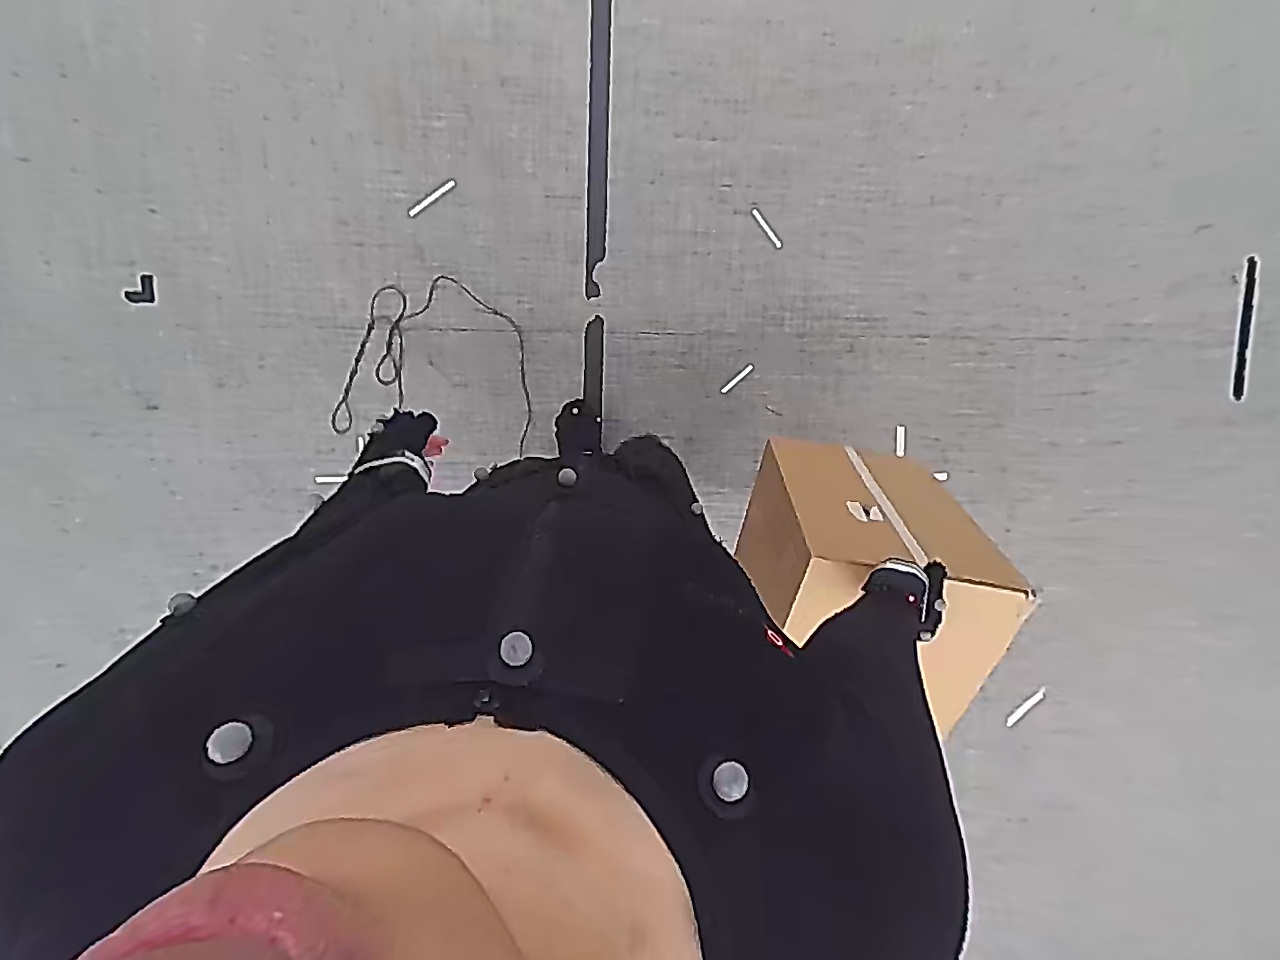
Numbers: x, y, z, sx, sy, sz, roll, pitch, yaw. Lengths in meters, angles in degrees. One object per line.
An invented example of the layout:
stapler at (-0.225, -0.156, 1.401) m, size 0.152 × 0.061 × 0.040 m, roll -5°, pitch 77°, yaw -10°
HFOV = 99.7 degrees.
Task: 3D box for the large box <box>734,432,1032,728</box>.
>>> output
large box at (0.371, 0.157, 0.973) m, size 0.320 × 0.408 × 0.320 m, roll 9°, pitch 120°, yaw -1°
